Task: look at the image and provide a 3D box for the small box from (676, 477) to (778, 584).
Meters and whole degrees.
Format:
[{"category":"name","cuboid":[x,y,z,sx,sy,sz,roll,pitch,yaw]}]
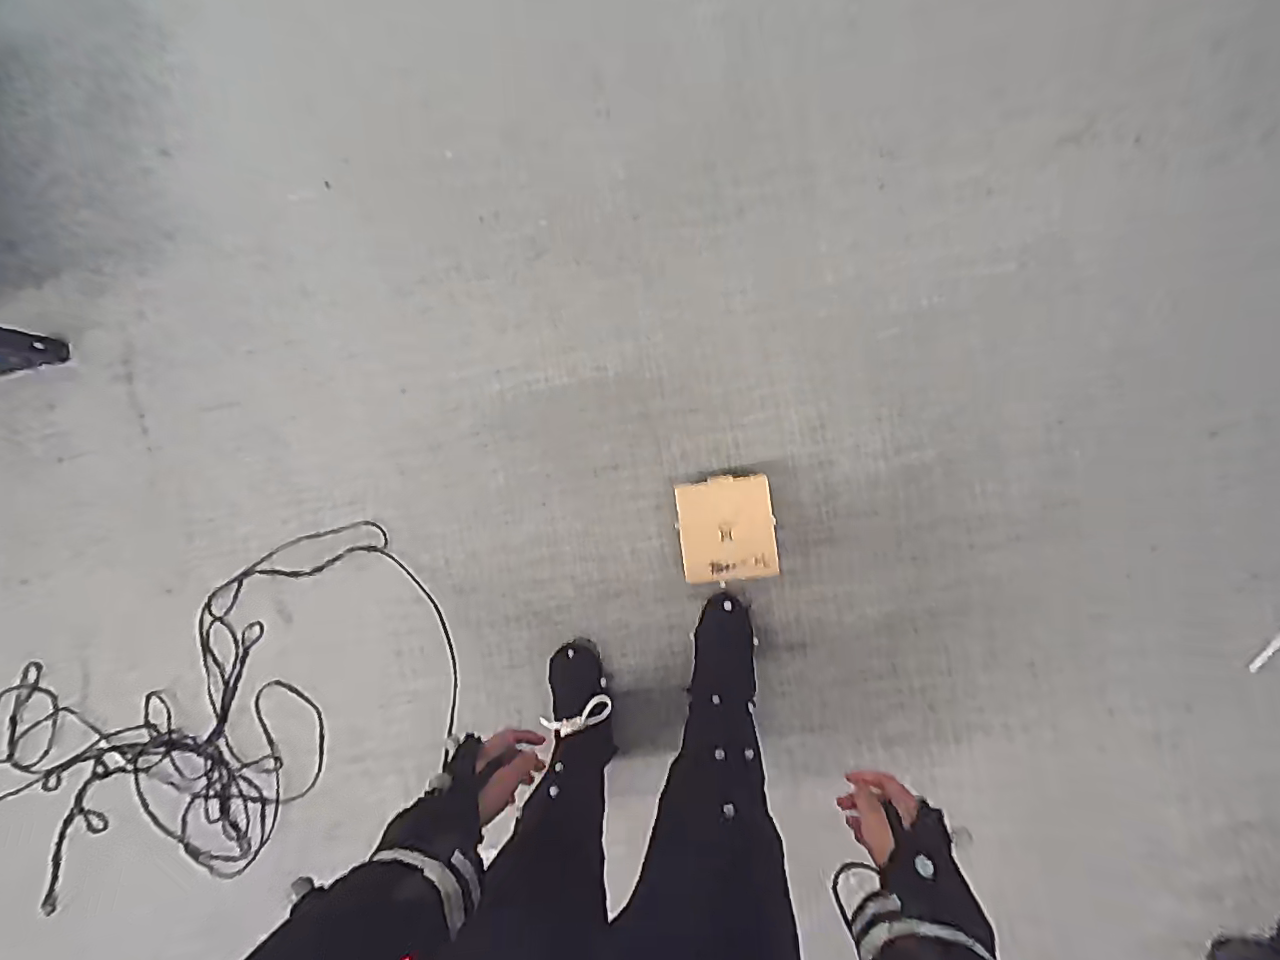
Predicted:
[{"category":"small box","cuboid":[0.159,0.094,1.024,0.168,0.176,0.179,-7,86,7]}]
